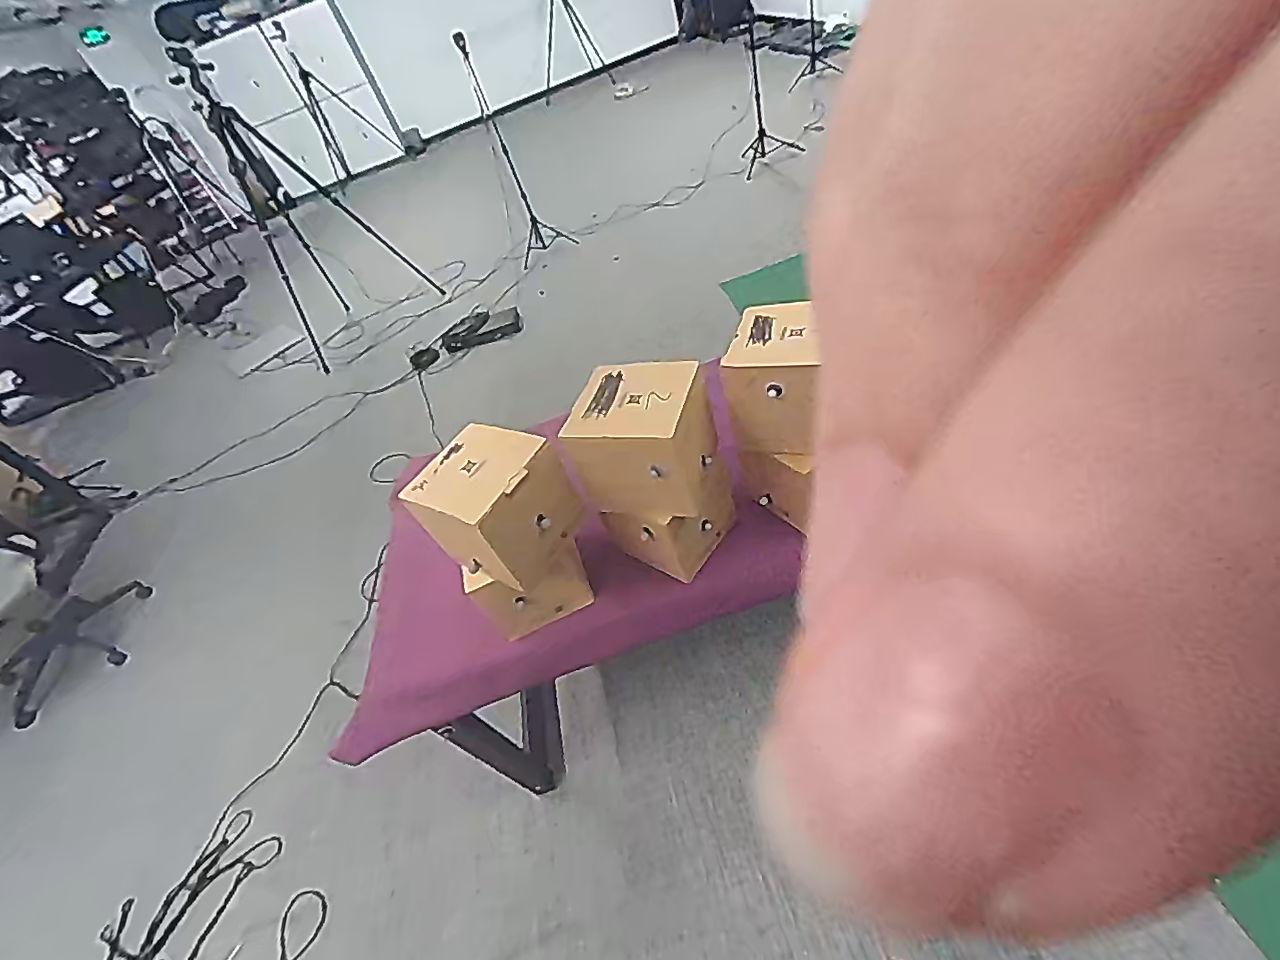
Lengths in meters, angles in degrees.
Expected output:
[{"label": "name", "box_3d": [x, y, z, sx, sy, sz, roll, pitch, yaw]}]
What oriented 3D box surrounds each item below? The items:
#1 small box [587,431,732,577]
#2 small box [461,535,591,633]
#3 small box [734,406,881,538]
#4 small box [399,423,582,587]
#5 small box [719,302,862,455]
[{"label": "small box", "box_3d": [0.043, 0.046, 0.954, 0.179, 0.176, 0.168, 22, 58, 37]}, {"label": "small box", "box_3d": [-0.203, 0.145, 0.957, 0.168, 0.176, 0.179, -25, 43, -3]}, {"label": "small box", "box_3d": [0.291, -0.036, 0.939, 0.179, 0.176, 0.168, -36, 44, -14]}, {"label": "small box", "box_3d": [-0.216, 0.040, 0.827, 0.179, 0.176, 0.168, 14, 53, 32]}, {"label": "small box", "box_3d": [0.240, -0.154, 0.837, 0.179, 0.176, 0.168, 5, 48, 27]}]
